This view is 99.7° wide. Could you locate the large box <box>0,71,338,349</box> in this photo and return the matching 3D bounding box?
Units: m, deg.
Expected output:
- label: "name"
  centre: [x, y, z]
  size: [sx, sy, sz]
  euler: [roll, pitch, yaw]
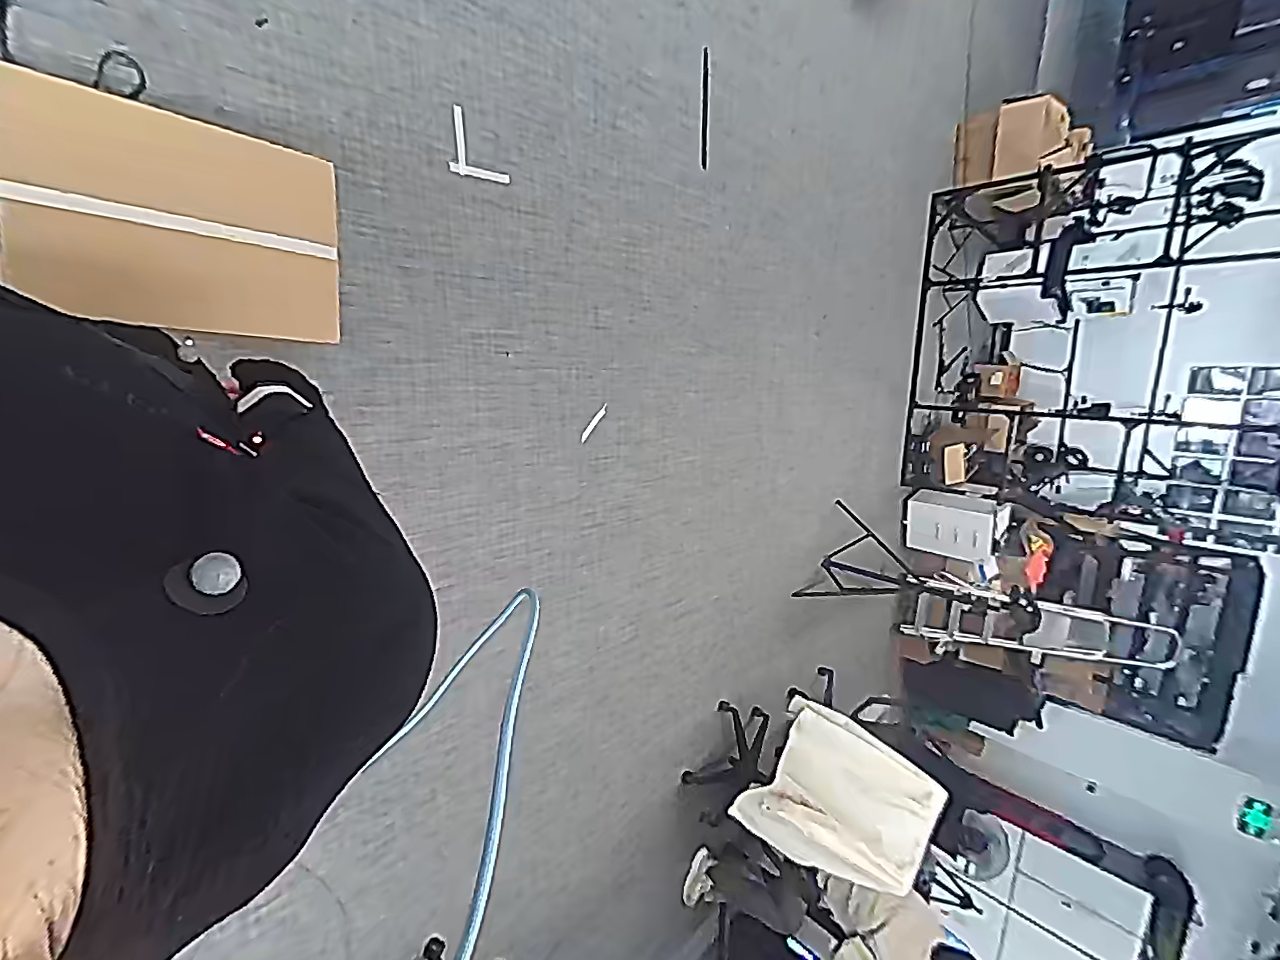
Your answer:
- label: "large box"
  centre: [-0.796, -0.402, 0.932]
  size: [0.408, 0.320, 0.320]
  euler: [-6, 103, -45]
